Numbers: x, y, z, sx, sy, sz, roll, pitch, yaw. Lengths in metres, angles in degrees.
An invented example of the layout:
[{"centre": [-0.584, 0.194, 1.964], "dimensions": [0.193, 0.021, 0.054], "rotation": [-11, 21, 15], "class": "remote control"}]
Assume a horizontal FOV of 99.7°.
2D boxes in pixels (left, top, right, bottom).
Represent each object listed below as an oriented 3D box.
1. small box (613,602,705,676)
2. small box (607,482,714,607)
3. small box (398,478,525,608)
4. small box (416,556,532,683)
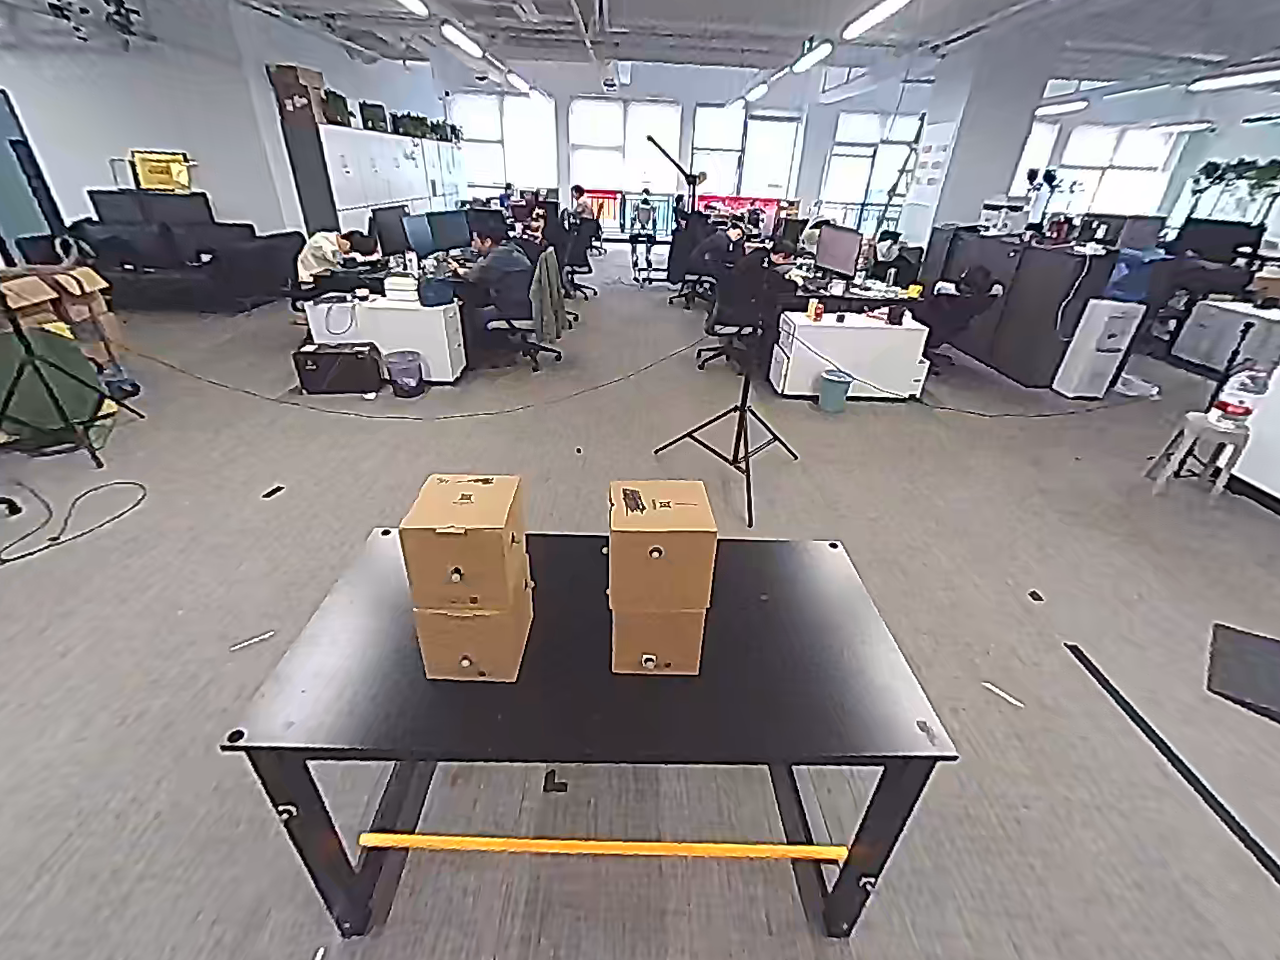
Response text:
[{"centre": [0.031, 0.257, 1.061], "dimensions": [0.168, 0.176, 0.179], "rotation": [0, 30, -1], "class": "small box"}, {"centre": [0.031, 0.116, 0.977], "dimensions": [0.179, 0.176, 0.168], "rotation": [0, 29, -3], "class": "small box"}, {"centre": [-0.302, 0.111, 0.960], "dimensions": [0.168, 0.176, 0.179], "rotation": [1, 30, -3], "class": "small box"}, {"centre": [-0.305, 0.259, 1.032], "dimensions": [0.168, 0.176, 0.179], "rotation": [2, 29, 0], "class": "small box"}]
